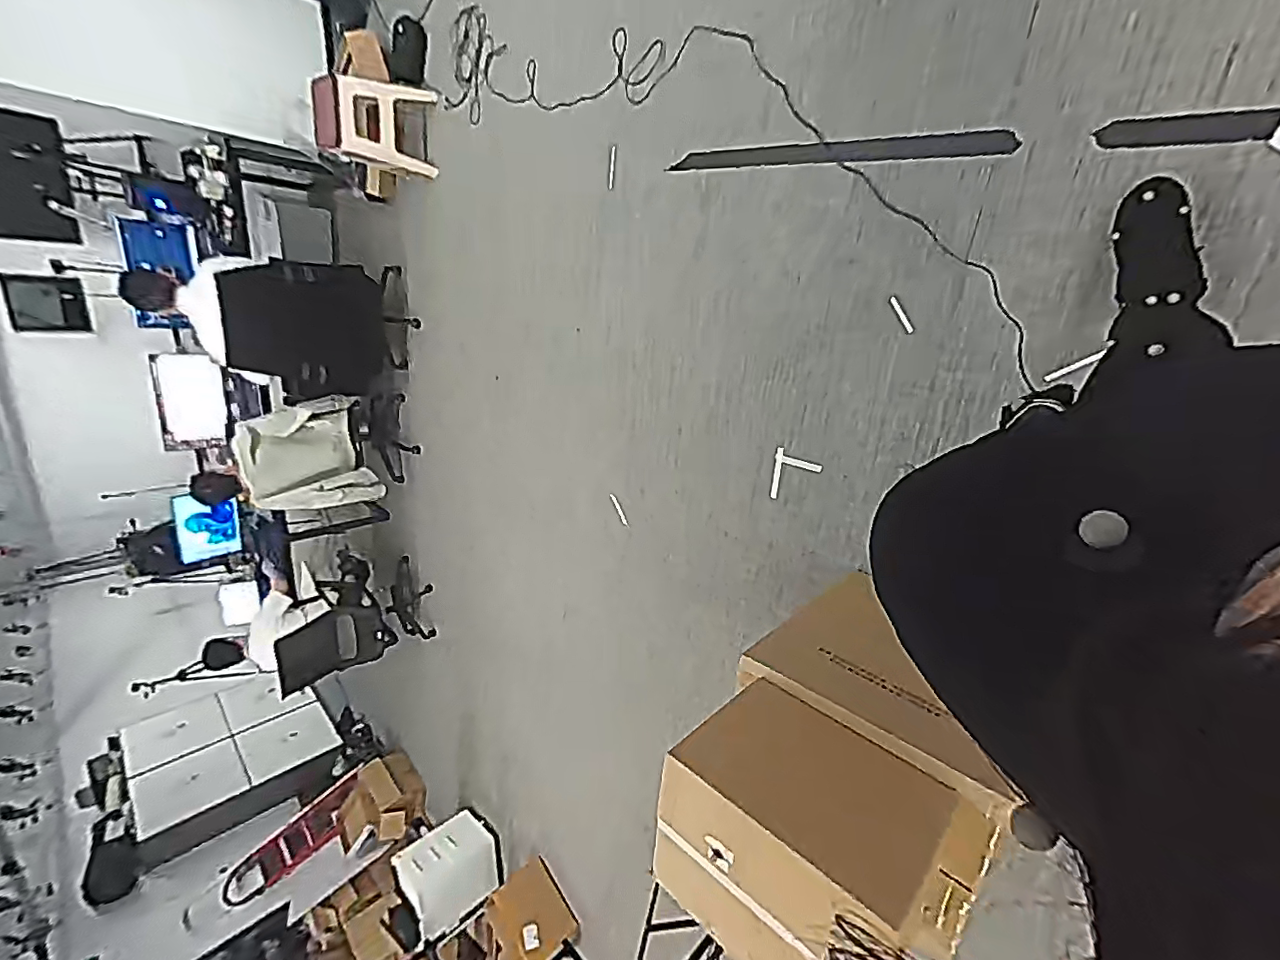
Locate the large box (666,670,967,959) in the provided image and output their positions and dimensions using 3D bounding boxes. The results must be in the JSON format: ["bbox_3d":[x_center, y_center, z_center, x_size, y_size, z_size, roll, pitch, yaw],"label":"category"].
[{"bbox_3d":[0.304,0.623,0.981,0.408,0.320,0.320,21,114,41],"label":"large box"}]
